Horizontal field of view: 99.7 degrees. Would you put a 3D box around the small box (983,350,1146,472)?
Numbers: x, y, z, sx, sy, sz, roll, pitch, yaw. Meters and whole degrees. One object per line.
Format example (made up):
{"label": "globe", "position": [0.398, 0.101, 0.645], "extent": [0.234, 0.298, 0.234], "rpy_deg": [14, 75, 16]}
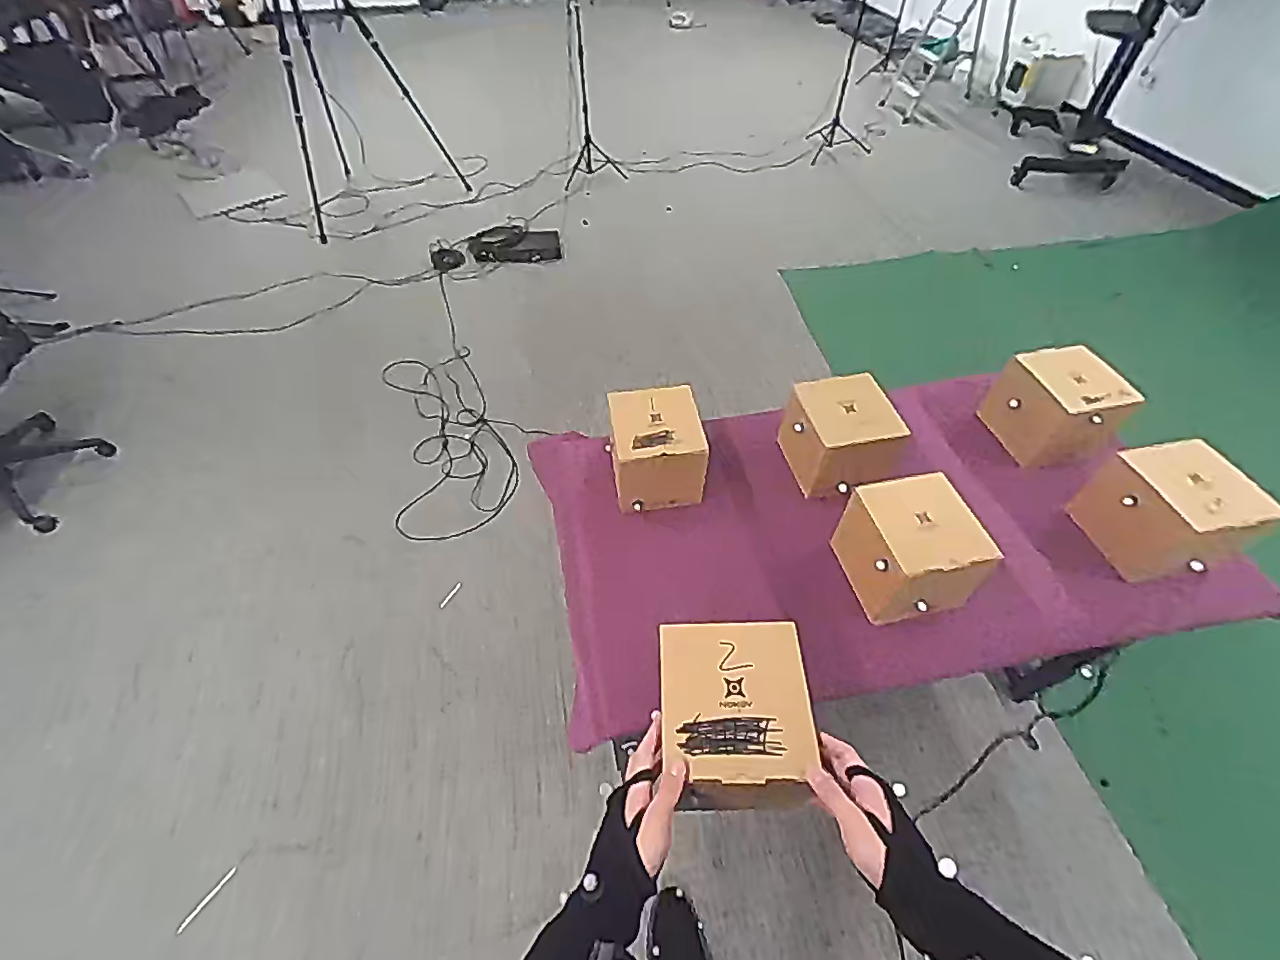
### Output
{"label": "small box", "position": [0.868, -0.143, 1.131], "extent": [0.168, 0.176, 0.179], "rpy_deg": [-10, 51, -6]}

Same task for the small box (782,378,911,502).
{"label": "small box", "position": [0.402, -0.080, 1.091], "extent": [0.168, 0.176, 0.179], "rpy_deg": [-9, 52, -5]}

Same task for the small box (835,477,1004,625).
{"label": "small box", "position": [0.459, 0.123, 0.925], "extent": [0.168, 0.176, 0.179], "rpy_deg": [-9, 51, -7]}

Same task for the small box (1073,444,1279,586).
{"label": "small box", "position": [0.932, 0.063, 0.957], "extent": [0.168, 0.176, 0.179], "rpy_deg": [-9, 50, -4]}

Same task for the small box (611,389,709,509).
{"label": "small box", "position": [0.035, -0.055, 1.072], "extent": [0.168, 0.176, 0.179], "rpy_deg": [-6, 52, -5]}
